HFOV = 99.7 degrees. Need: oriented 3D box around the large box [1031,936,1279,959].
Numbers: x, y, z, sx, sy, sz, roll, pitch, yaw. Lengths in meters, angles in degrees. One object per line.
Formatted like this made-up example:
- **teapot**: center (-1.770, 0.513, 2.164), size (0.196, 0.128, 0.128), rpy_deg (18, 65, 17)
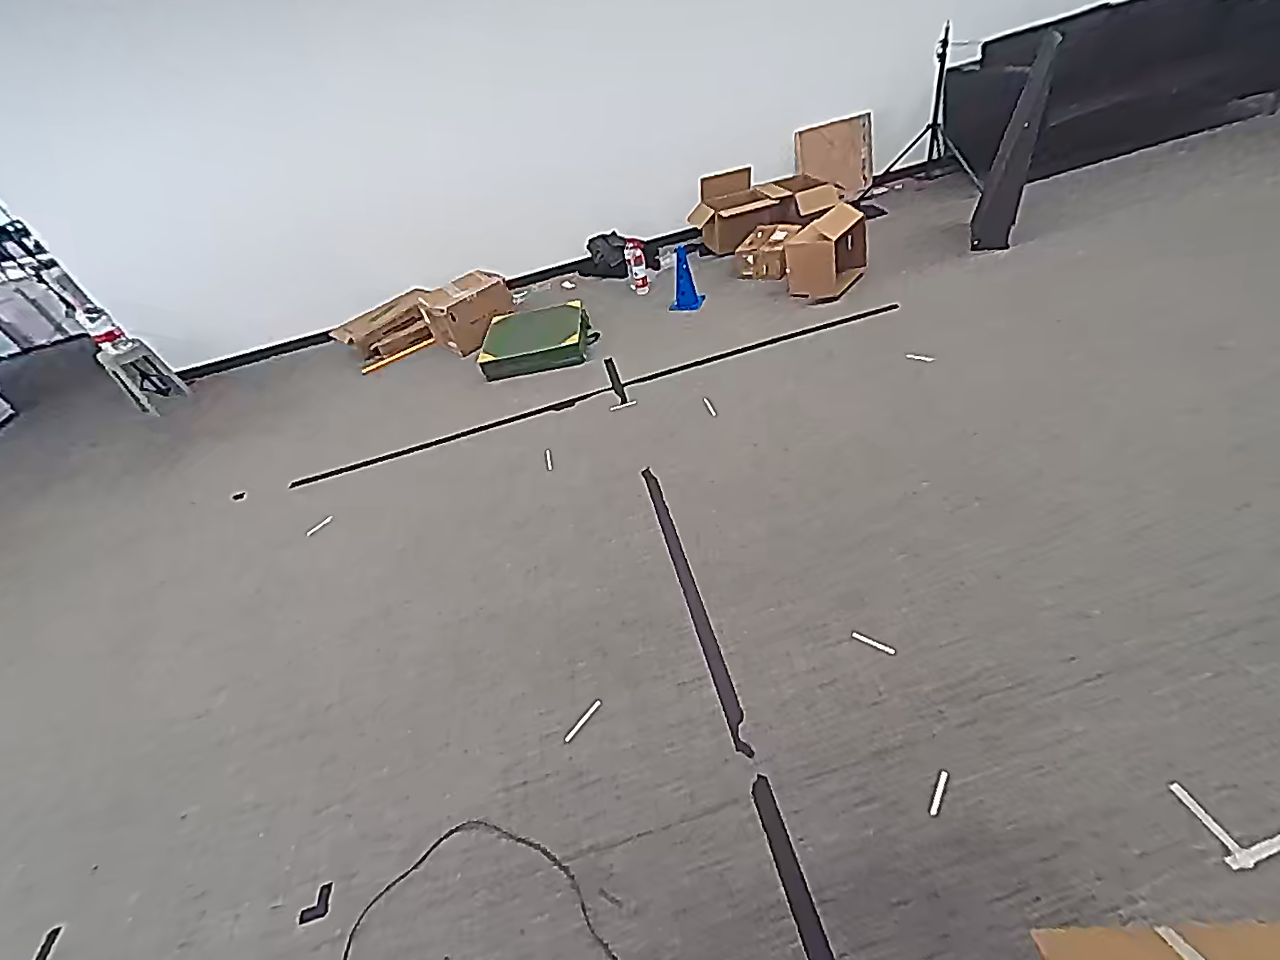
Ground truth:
- **large box**: center (0.639, 0.709, 0.474), size (0.320, 0.408, 0.320), rpy_deg (-12, 82, 12)
